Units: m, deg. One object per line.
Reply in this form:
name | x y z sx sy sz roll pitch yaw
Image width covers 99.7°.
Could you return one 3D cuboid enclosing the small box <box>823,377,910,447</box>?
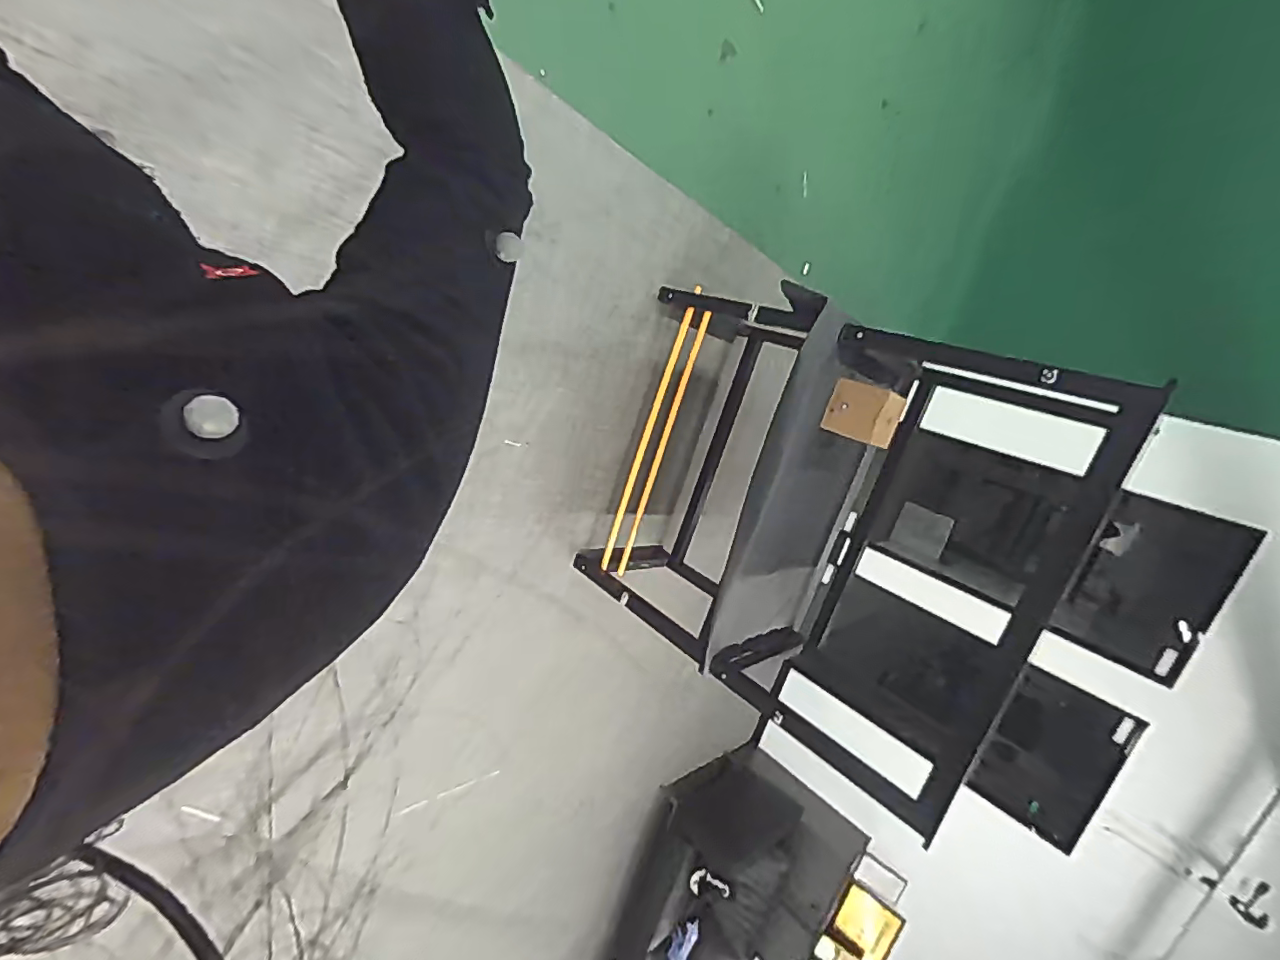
small box | 0.706 -0.214 1.691 0.179 0.176 0.168 4 108 -49
